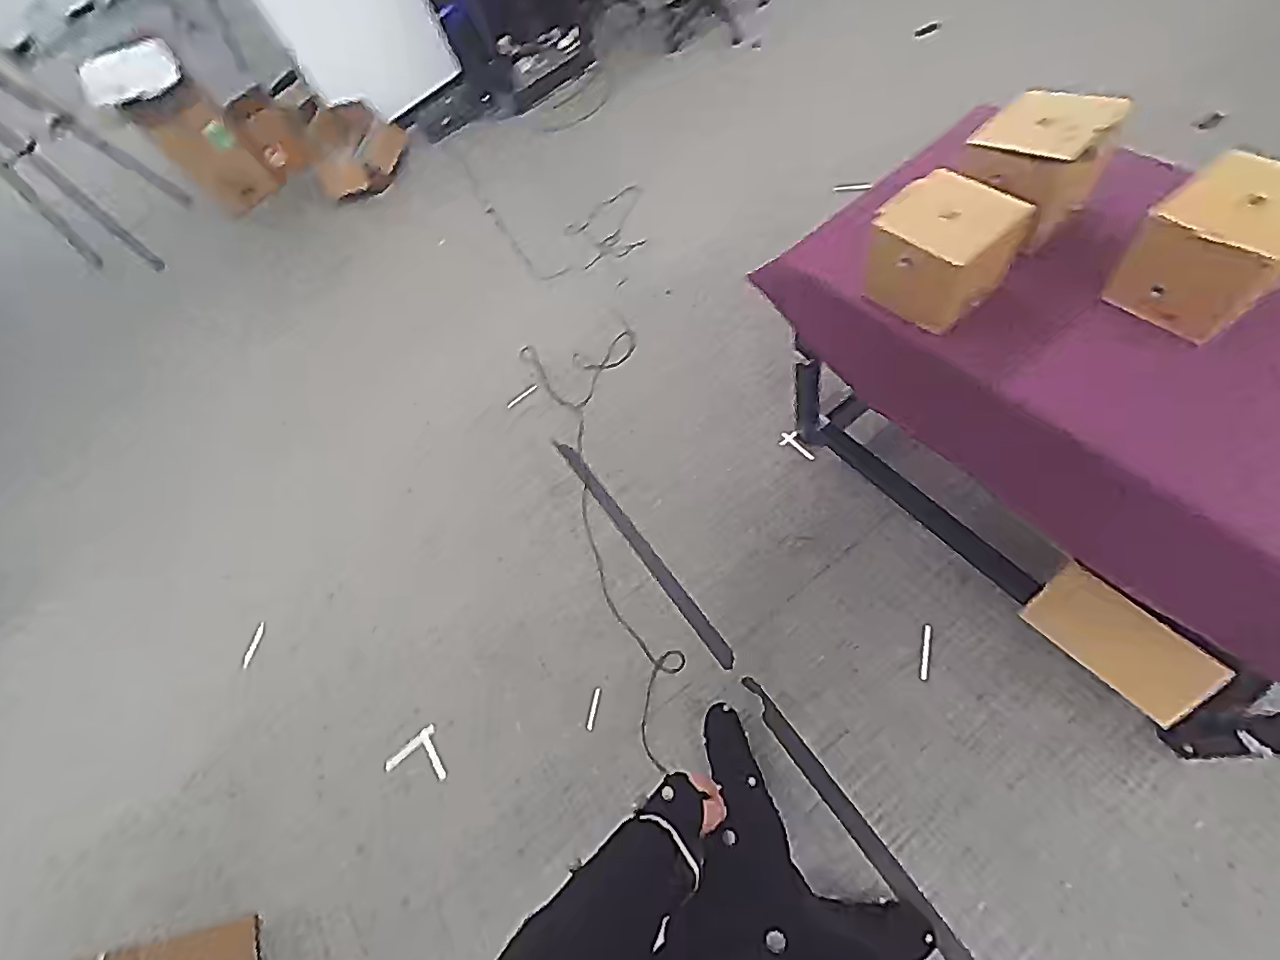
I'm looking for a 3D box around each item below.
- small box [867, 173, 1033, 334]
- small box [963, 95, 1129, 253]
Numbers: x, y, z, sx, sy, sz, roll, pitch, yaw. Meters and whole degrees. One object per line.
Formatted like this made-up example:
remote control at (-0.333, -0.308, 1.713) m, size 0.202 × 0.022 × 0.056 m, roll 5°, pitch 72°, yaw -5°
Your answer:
small box at (0.528, -0.393, 0.954) m, size 0.168 × 0.176 × 0.179 m, roll -39°, pitch 60°, yaw -6°
small box at (0.708, -0.551, 0.985) m, size 0.168 × 0.176 × 0.179 m, roll -41°, pitch 60°, yaw -7°
